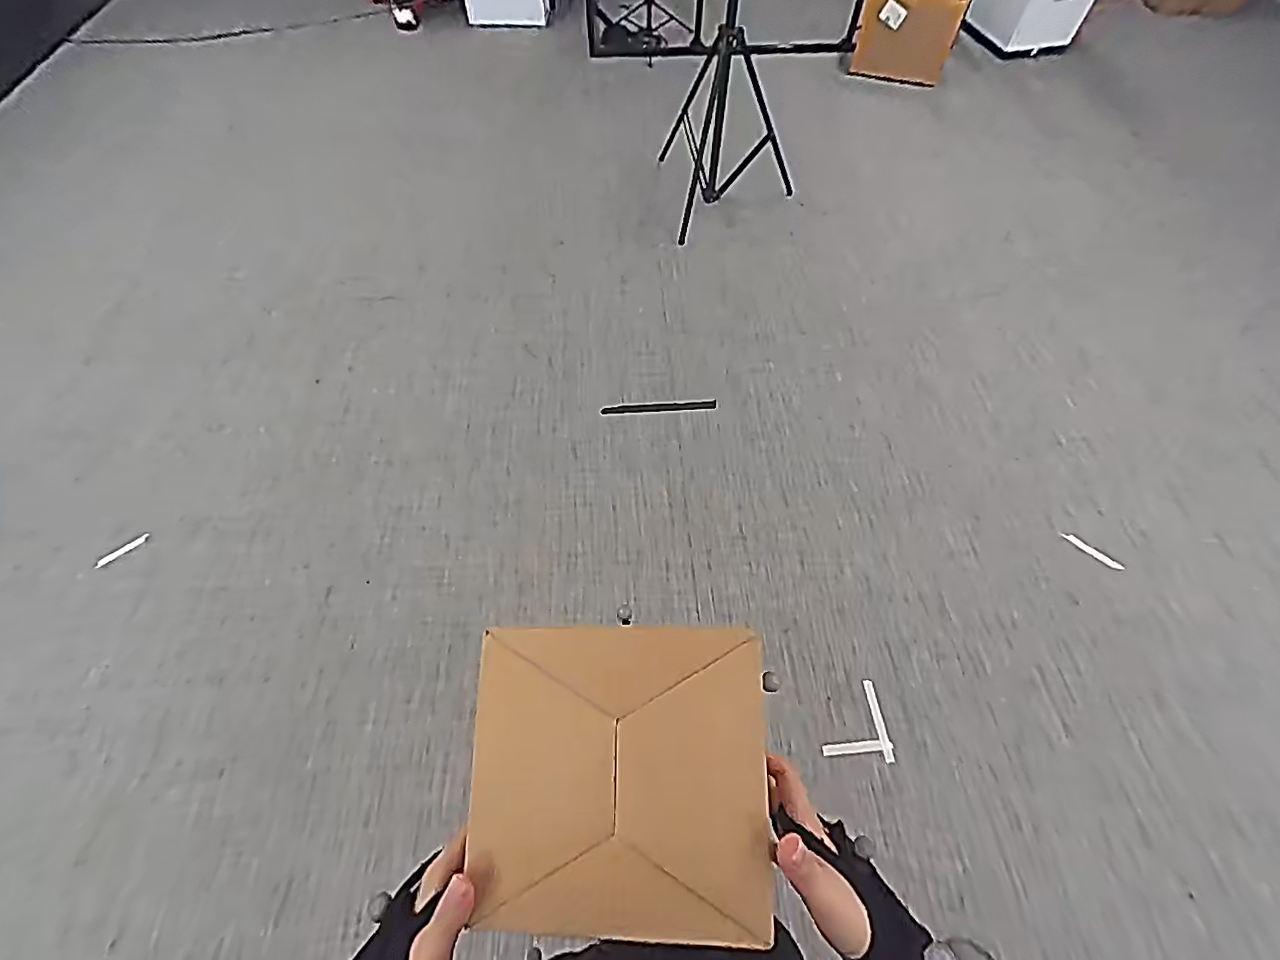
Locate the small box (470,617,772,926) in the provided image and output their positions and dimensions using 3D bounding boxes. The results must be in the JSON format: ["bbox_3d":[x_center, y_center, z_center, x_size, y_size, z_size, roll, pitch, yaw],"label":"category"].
[{"bbox_3d":[-0.004,0.186,0.394,0.179,0.176,0.168,-1,76,4],"label":"small box"}]
